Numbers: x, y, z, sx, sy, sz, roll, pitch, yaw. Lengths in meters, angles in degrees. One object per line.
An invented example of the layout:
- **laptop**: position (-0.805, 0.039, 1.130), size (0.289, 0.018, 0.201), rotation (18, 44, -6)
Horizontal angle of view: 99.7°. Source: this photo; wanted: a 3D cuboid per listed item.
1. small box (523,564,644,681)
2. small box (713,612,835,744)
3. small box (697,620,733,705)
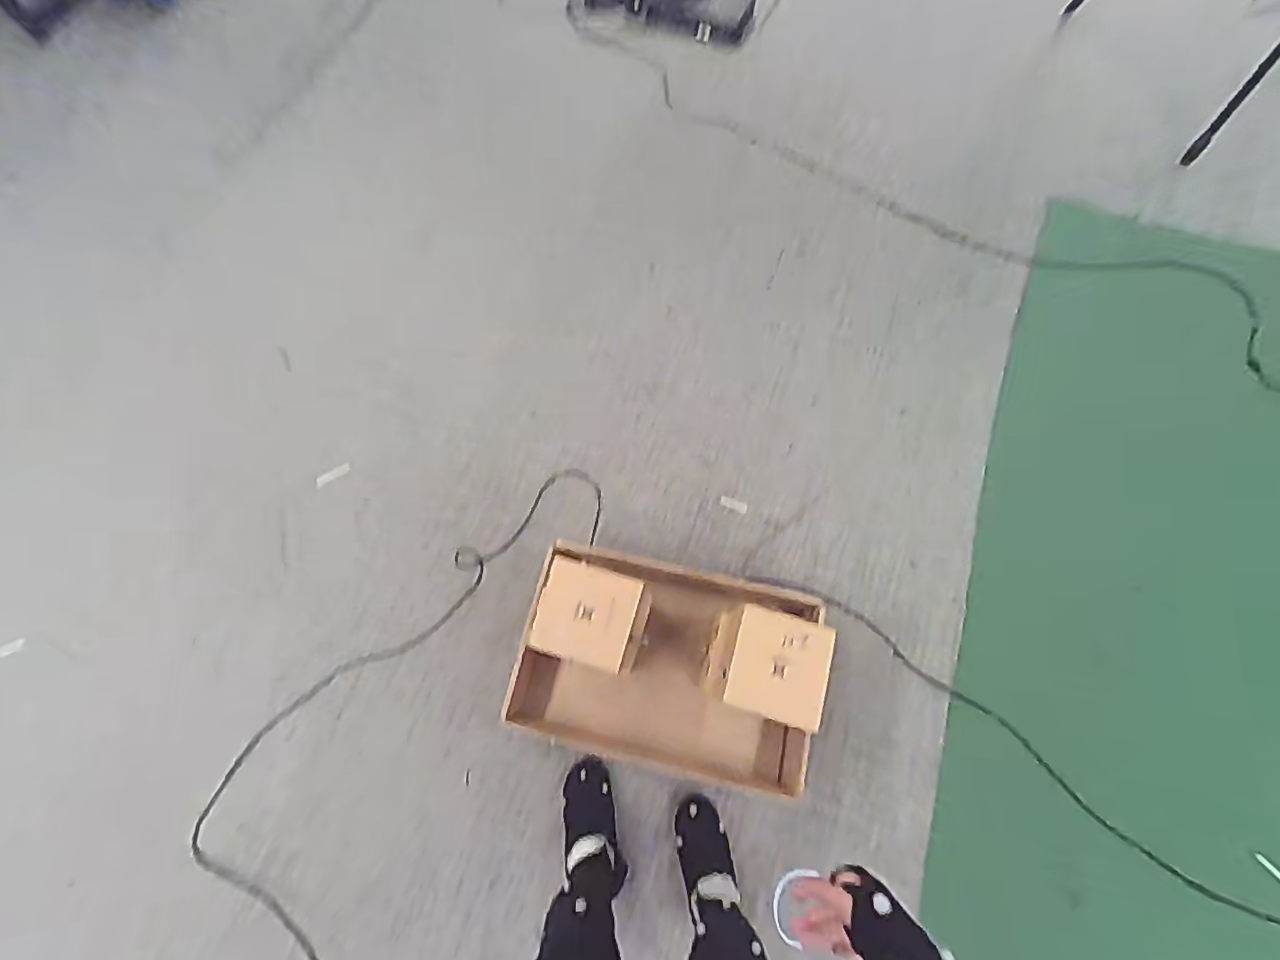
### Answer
- **small box**: position (-0.099, 0.277, 1.037), size (0.179, 0.176, 0.168), rotation (17, 72, 6)
- **small box**: position (0.238, 0.362, 0.999), size (0.168, 0.176, 0.179), rotation (17, 70, 6)
- **small box**: position (0.226, 0.413, 1.156), size (0.179, 0.176, 0.168), rotation (16, 71, 7)
